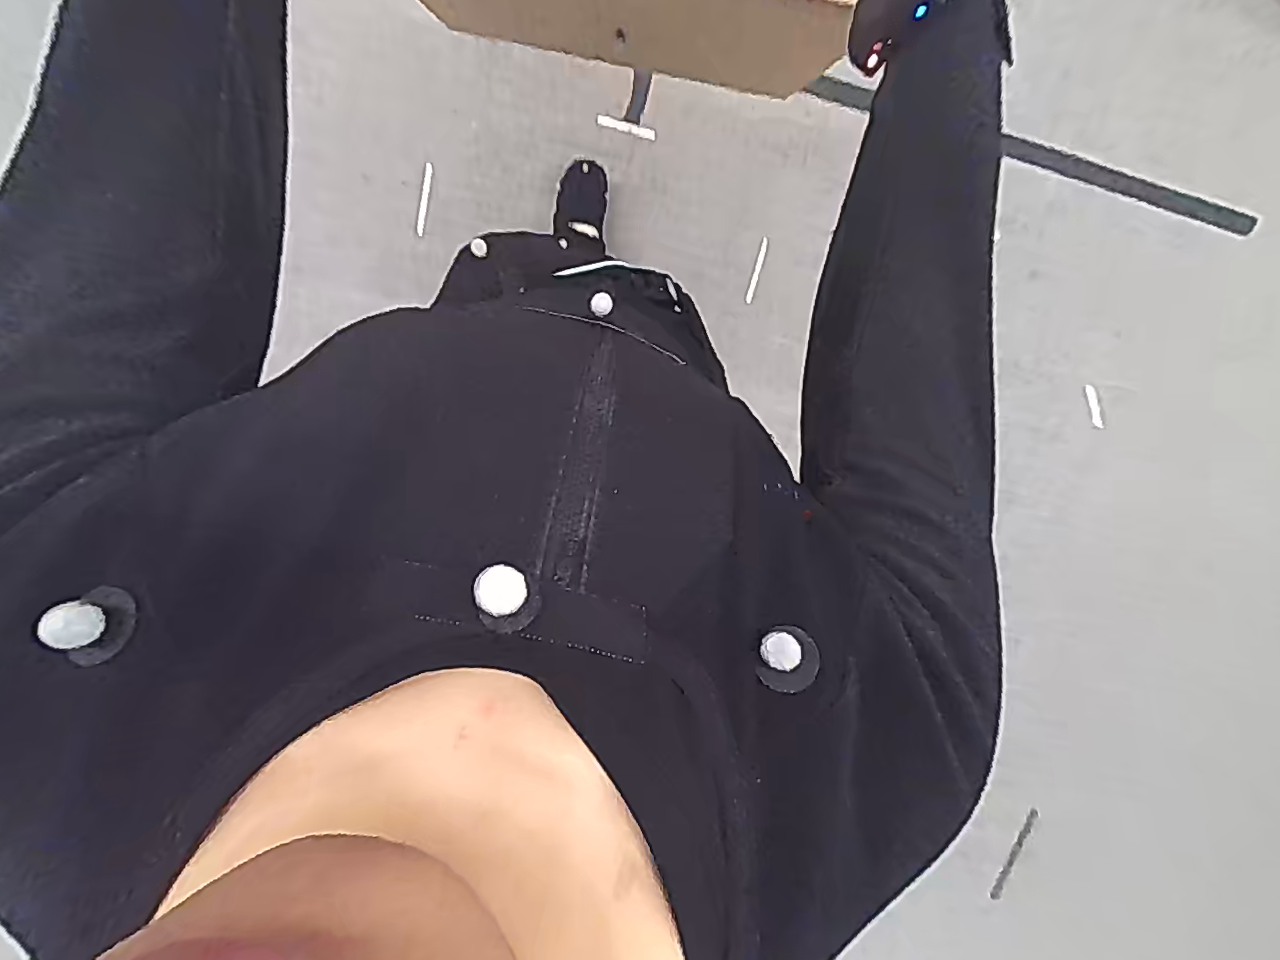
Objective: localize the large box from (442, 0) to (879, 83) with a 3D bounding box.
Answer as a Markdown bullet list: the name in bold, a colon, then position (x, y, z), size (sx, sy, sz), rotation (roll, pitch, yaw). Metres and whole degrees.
- **large box**: position (0.008, -0.572, 0.442), size (0.408, 0.320, 0.320), rotation (9, 114, -5)
